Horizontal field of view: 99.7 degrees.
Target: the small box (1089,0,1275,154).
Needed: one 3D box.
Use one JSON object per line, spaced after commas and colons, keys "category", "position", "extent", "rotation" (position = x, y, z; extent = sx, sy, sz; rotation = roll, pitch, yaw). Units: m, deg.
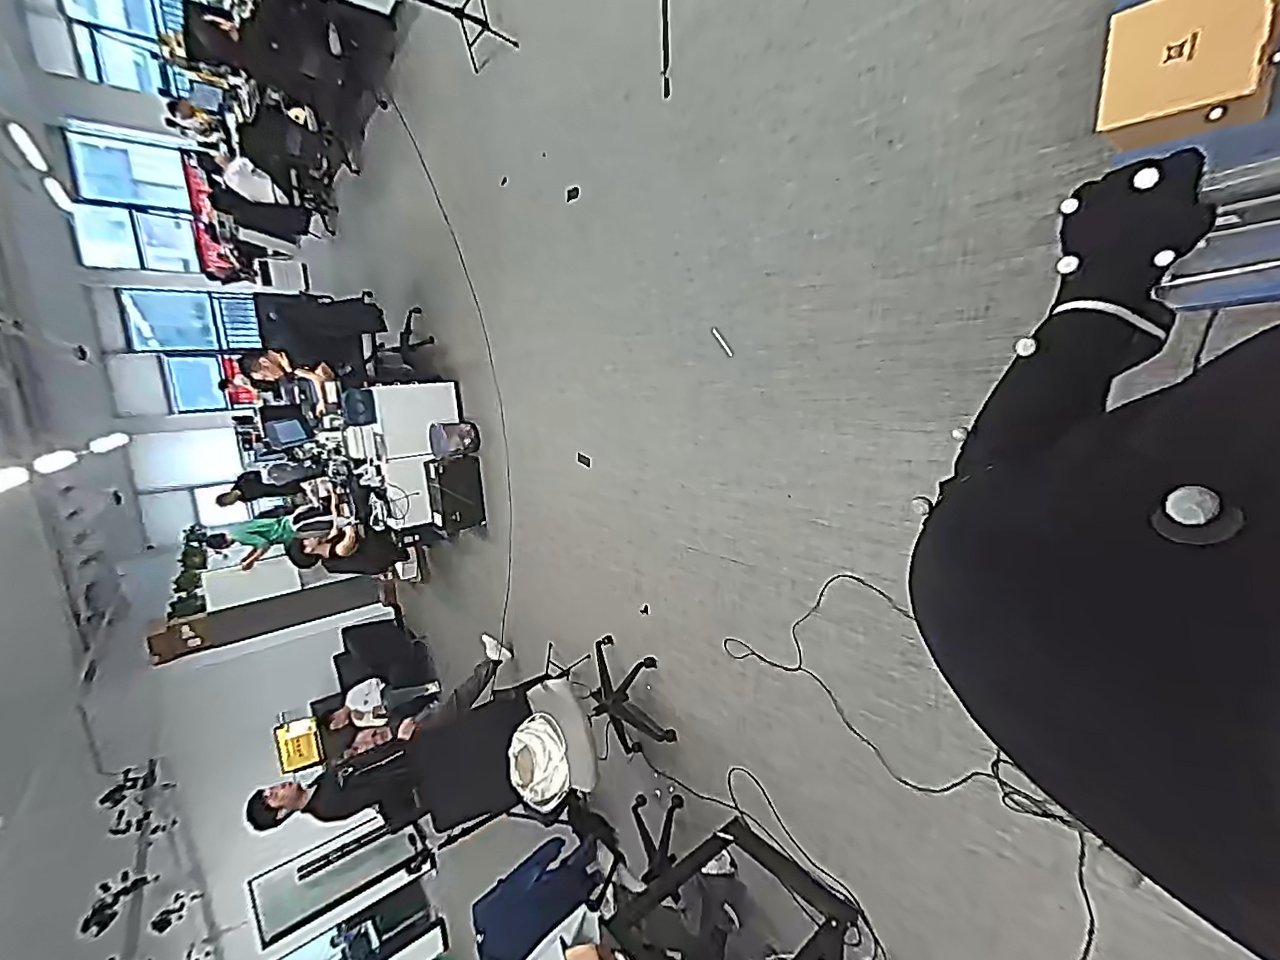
{"category": "small box", "position": [0.843, -0.636, 0.845], "extent": [0.179, 0.176, 0.168], "rotation": [12, 109, 48]}
